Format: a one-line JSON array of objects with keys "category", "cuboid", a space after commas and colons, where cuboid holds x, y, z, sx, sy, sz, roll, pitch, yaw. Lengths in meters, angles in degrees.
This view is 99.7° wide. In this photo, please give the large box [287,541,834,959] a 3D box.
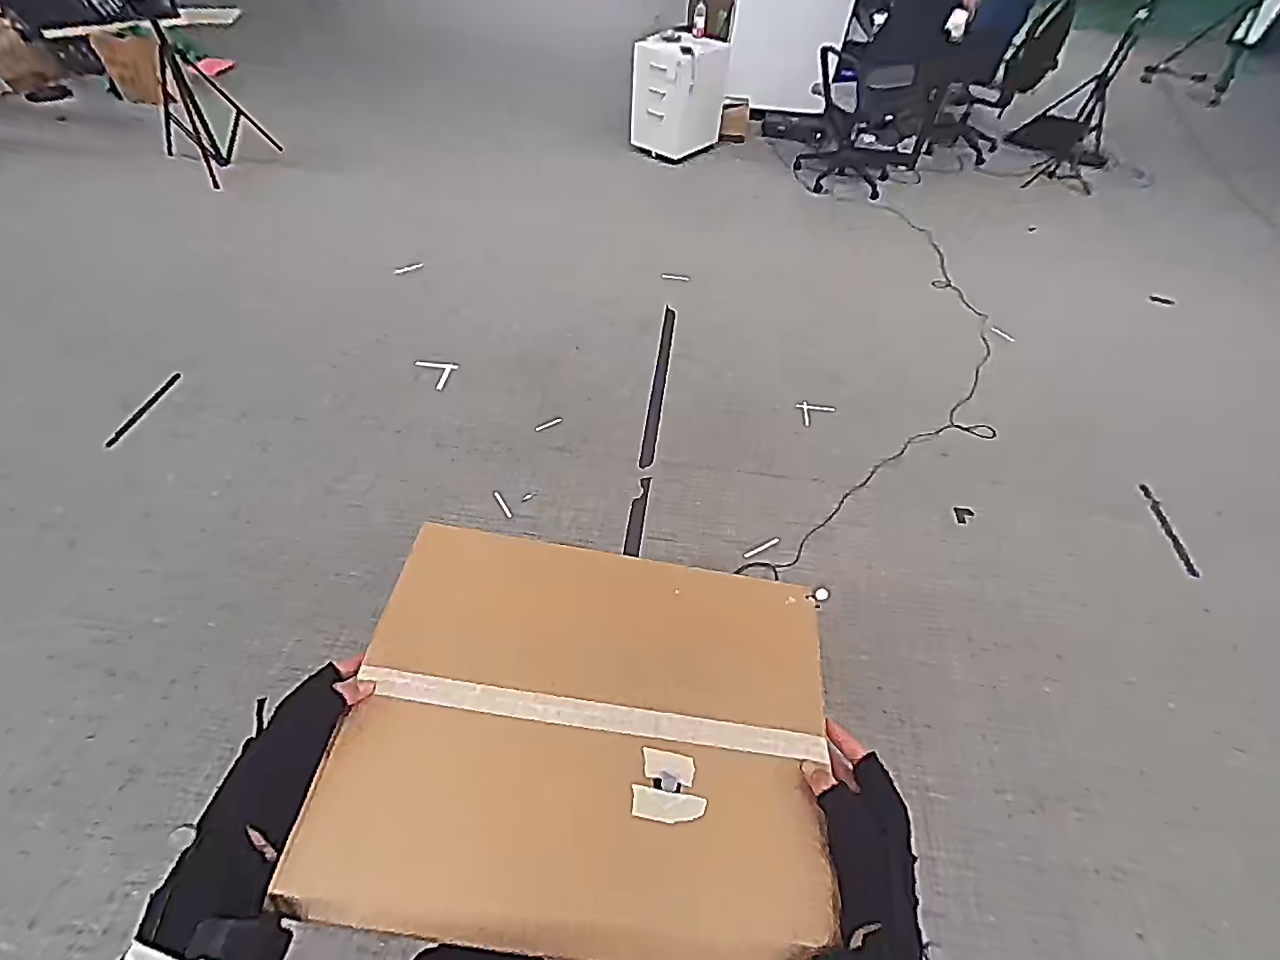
[{"category": "large box", "cuboid": [-0.060, 0.299, 0.592, 0.408, 0.320, 0.320, 10, 54, -3]}]
